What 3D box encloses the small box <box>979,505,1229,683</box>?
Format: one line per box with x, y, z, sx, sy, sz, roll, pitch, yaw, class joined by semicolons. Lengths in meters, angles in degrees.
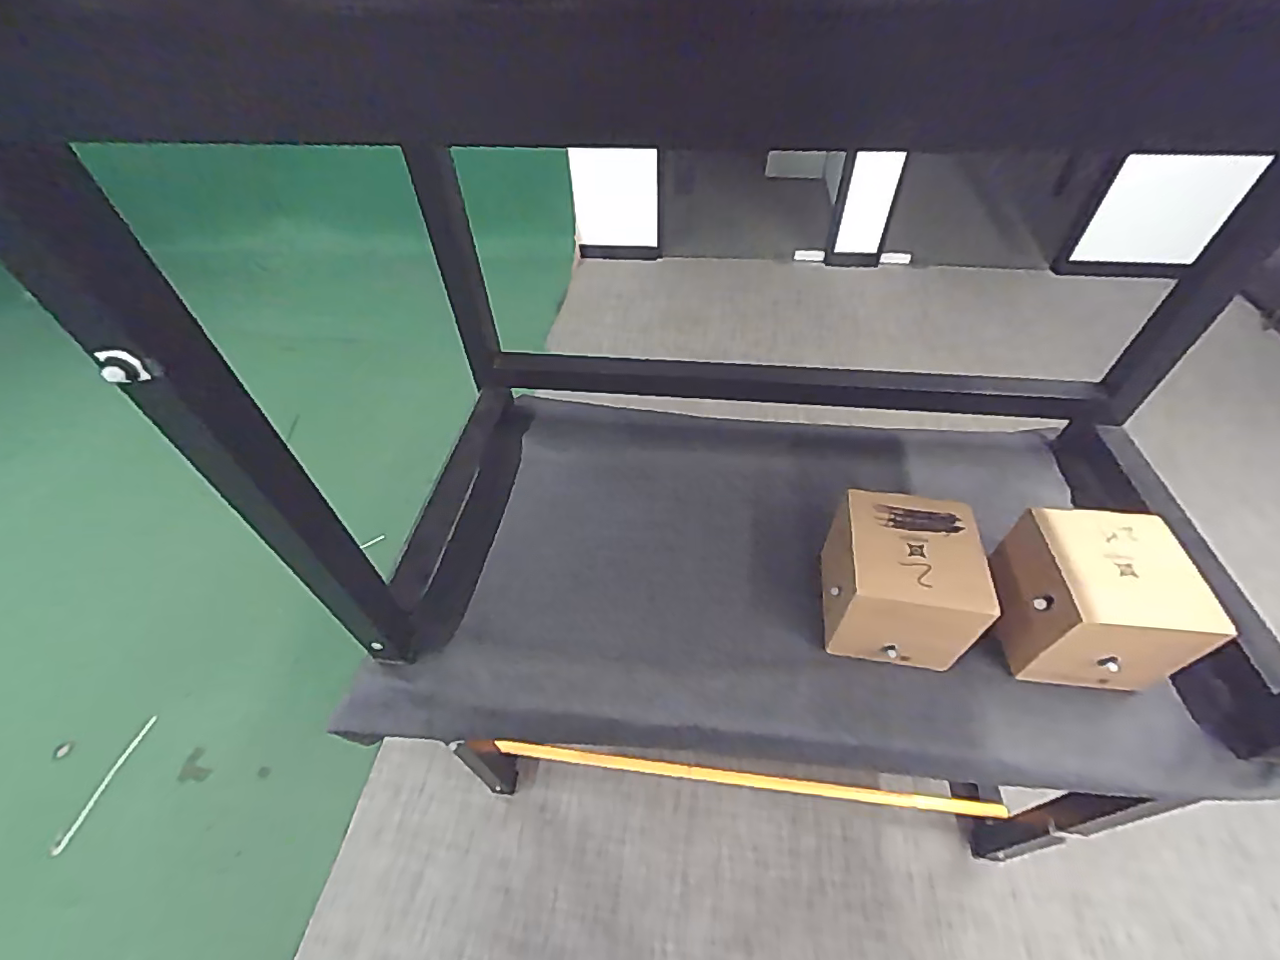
0.602;0.158;0.736;0.168;0.176;0.179;4;48;5;small box
